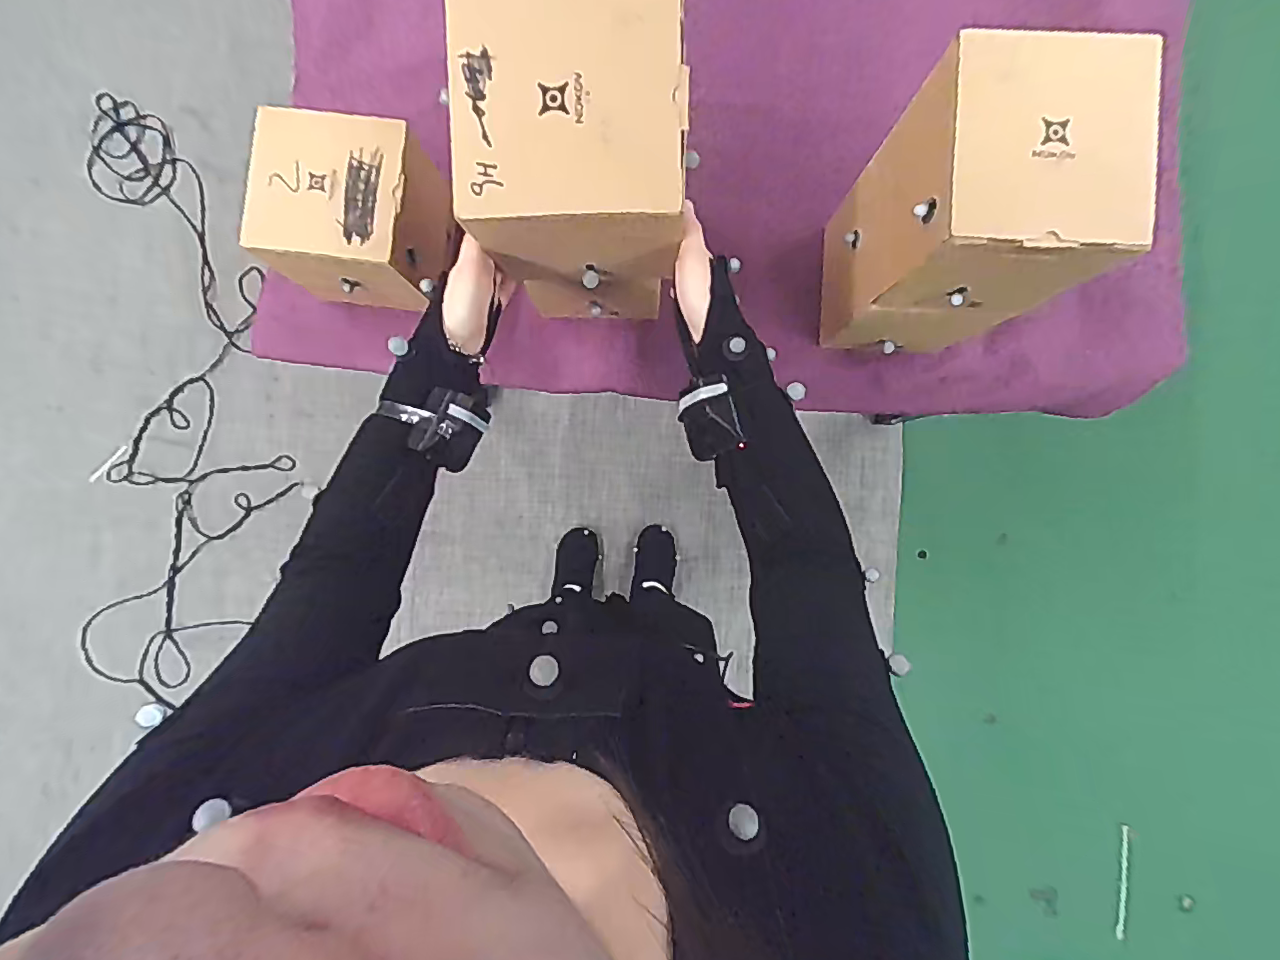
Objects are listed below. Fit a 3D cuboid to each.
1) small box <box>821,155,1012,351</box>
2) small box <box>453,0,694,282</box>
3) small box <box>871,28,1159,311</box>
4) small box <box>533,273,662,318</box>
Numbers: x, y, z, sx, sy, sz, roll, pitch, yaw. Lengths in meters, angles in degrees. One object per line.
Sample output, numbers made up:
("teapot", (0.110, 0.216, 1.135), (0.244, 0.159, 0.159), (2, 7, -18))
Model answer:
("small box", (0.338, -0.274, 0.683), (0.168, 0.176, 0.179), (3, 90, 1))
("small box", (-0.048, -0.282, 0.474), (0.179, 0.176, 0.168), (0, 94, 1))
("small box", (0.338, -0.279, 0.521), (0.168, 0.176, 0.179), (2, 90, 1))
("small box", (-0.054, -0.320, 0.685), (0.168, 0.176, 0.179), (1, 89, 1))
